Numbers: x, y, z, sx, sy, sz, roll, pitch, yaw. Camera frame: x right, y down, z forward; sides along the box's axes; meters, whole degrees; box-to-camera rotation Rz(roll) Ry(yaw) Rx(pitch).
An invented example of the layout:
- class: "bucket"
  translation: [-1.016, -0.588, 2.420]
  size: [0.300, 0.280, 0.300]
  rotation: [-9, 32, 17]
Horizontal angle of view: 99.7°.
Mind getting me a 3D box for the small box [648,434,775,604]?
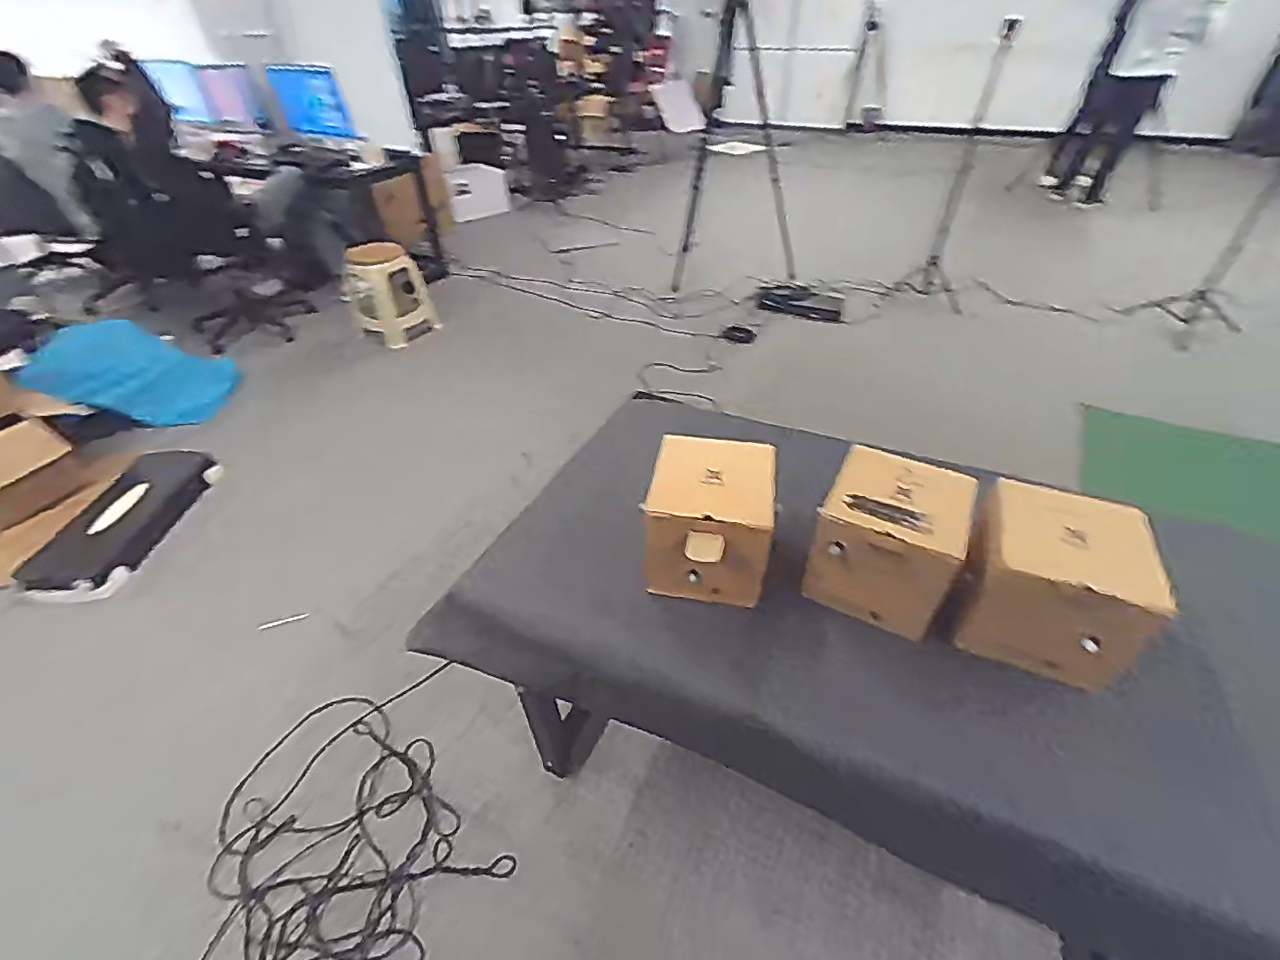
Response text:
- class: "small box"
  translation: [0.105, 0.055, 0.805]
  size: [0.168, 0.176, 0.179]
  rotation: [7, 41, 8]
